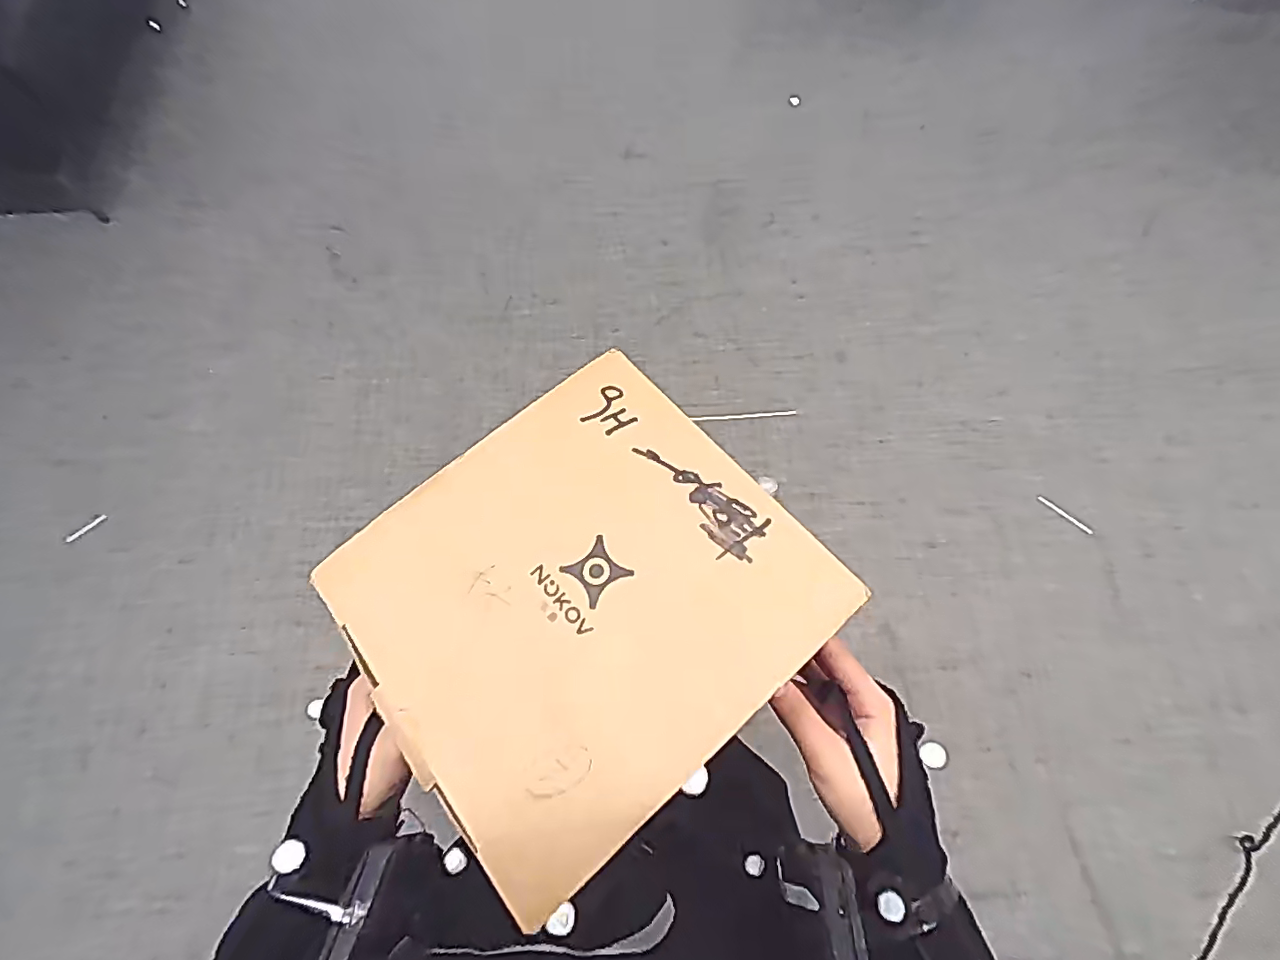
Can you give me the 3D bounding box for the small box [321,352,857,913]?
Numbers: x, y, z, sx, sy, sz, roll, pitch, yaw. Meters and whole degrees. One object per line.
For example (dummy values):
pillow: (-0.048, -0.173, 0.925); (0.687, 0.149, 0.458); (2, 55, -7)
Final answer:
small box: (-0.020, 0.074, 0.301); (0.179, 0.176, 0.168); (-39, 70, -11)
